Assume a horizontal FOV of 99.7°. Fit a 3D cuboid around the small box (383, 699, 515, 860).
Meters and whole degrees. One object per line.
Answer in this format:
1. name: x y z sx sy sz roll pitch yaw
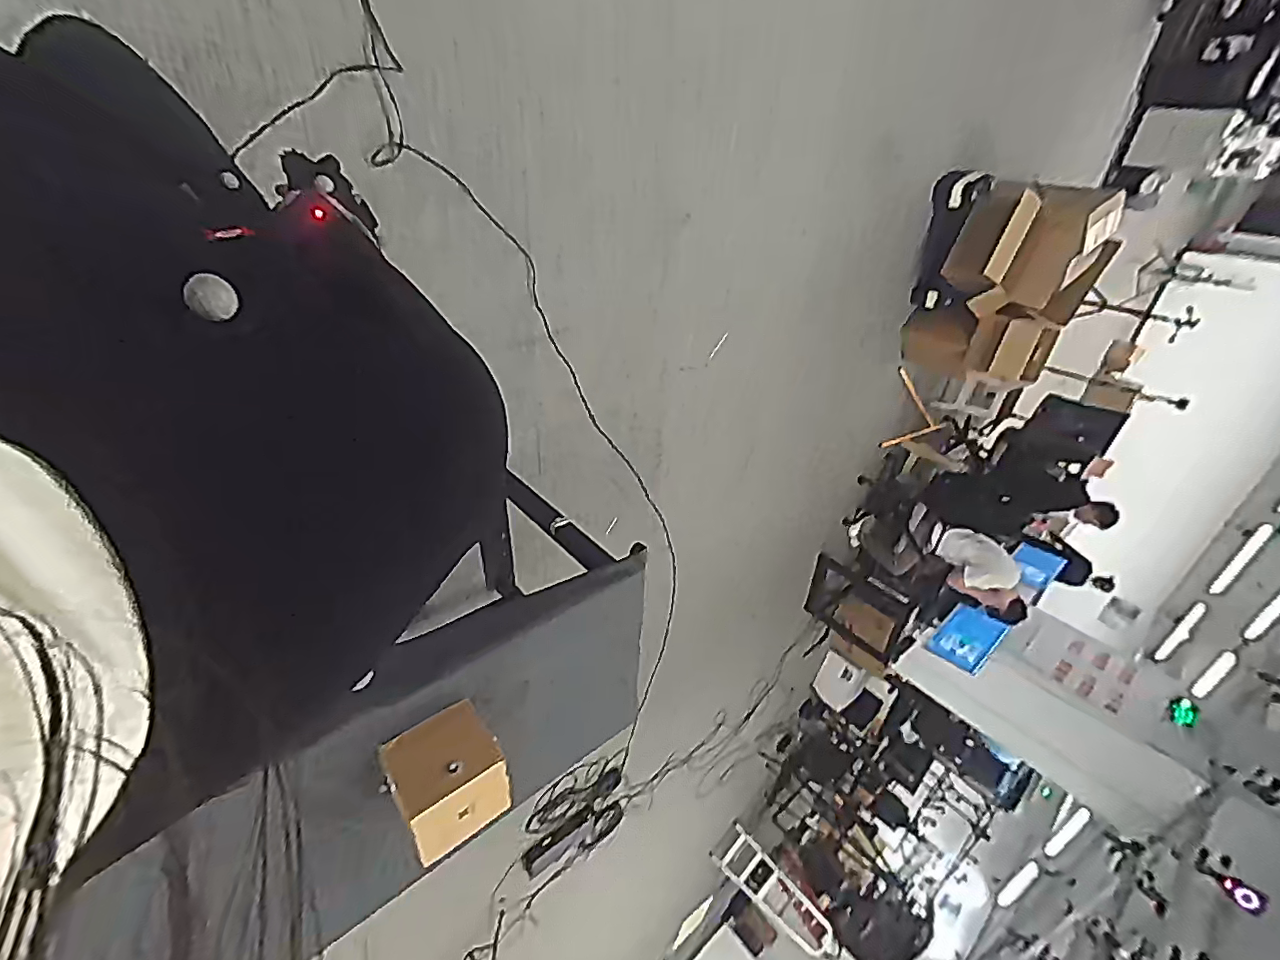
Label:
1. small box: -0.362 0.559 1.033 0.179 0.176 0.168 -22 130 -34
